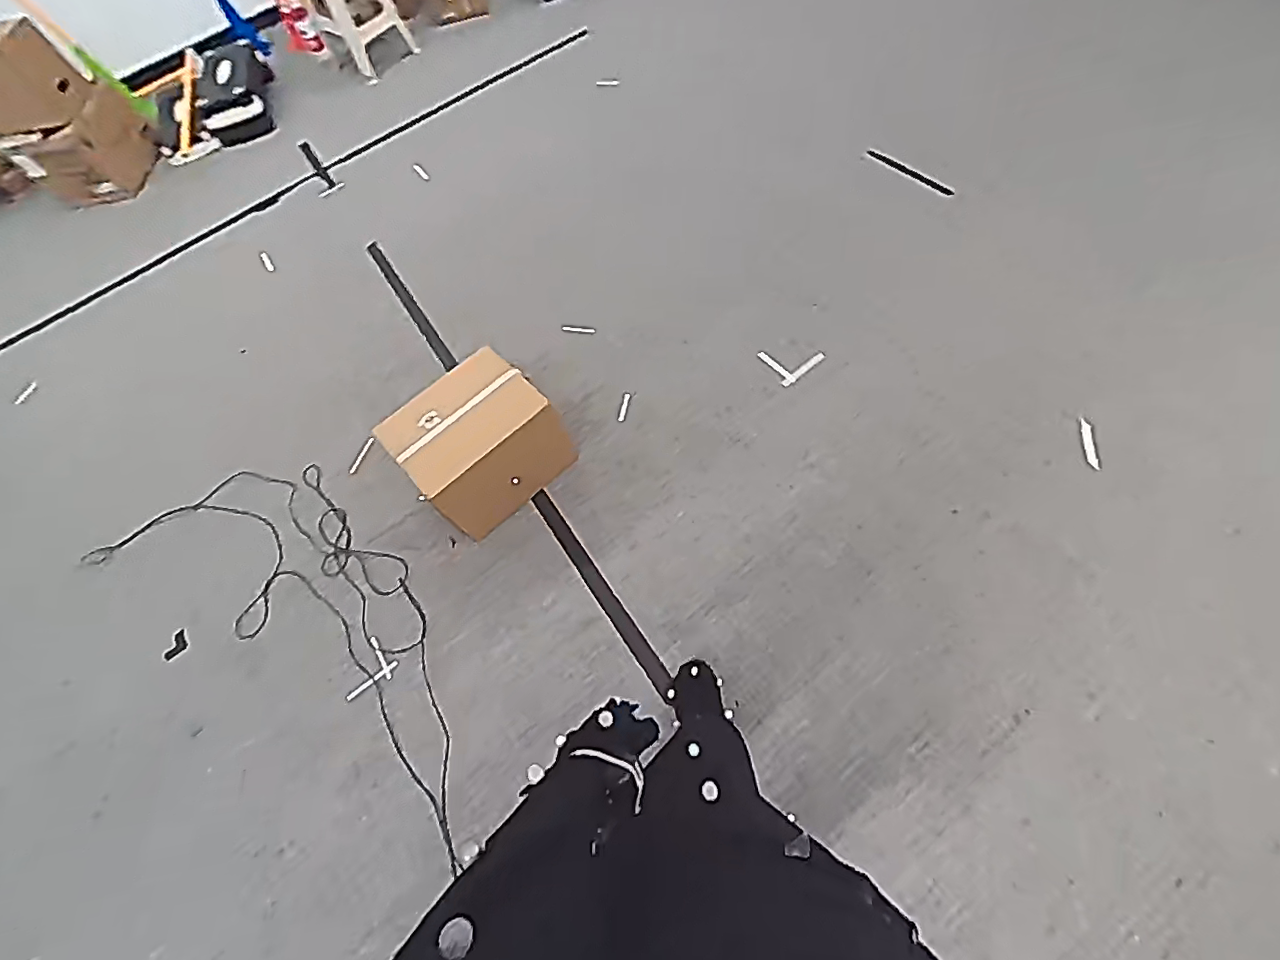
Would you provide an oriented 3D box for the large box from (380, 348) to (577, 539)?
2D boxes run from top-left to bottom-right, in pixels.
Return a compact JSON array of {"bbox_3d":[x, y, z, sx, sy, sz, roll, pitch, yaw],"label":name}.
[{"bbox_3d":[-0.458,-0.101,1.606,0.408,0.320,0.320,-42,64,-12],"label":"large box"}]
